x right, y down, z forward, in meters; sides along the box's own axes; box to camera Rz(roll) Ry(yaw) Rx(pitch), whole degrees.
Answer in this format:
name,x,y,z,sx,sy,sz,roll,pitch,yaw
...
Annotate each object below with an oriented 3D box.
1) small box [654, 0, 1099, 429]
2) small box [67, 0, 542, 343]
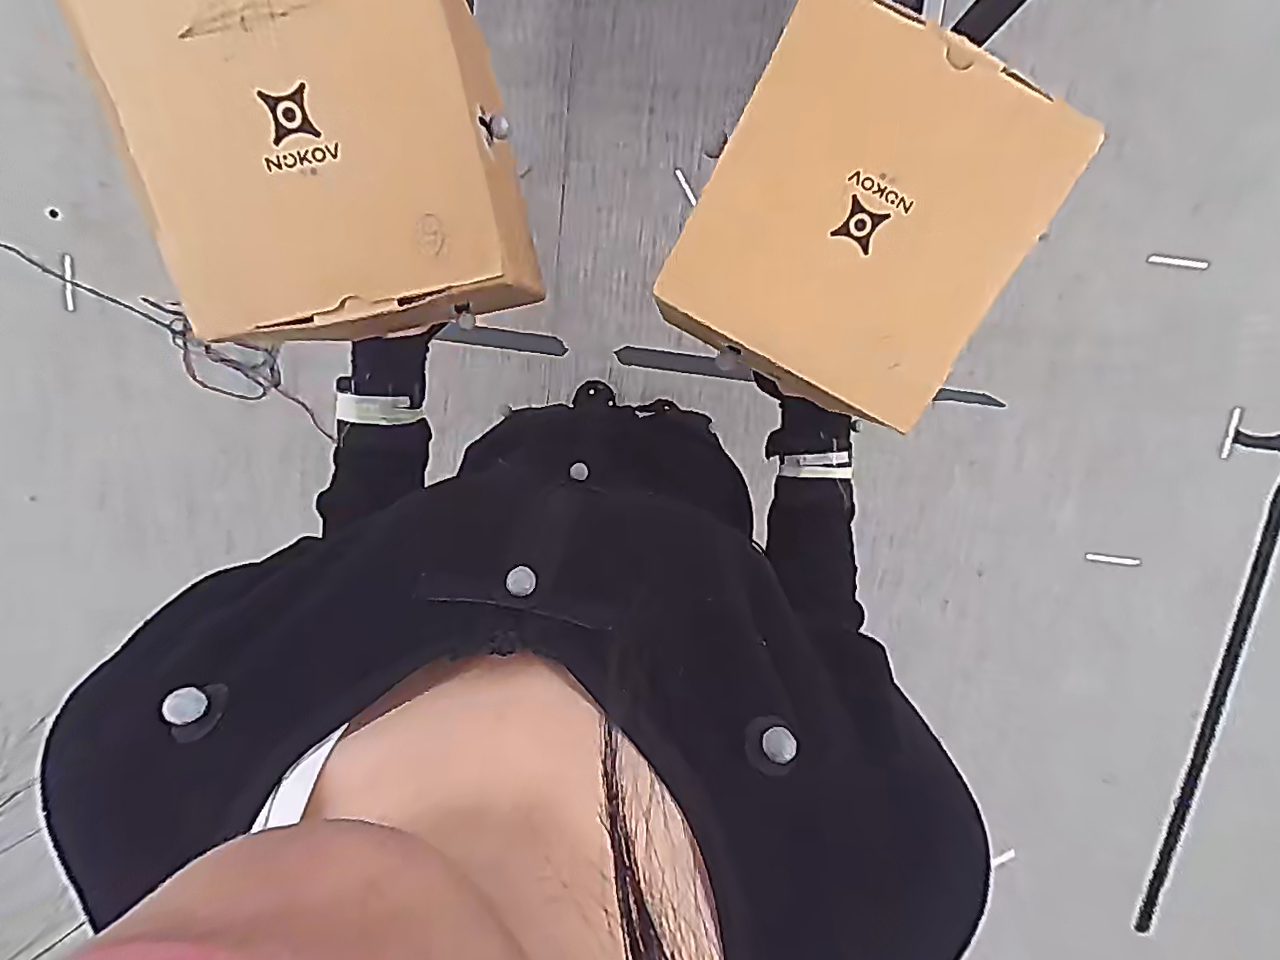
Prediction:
name,x,y,z,sx,sy,sz,roll,pitch,yaw
small box,0.125,-0.154,0.361,0.168,0.176,0.179,28,101,-1
small box,-0.166,-0.189,0.335,0.168,0.176,0.179,-13,104,0
